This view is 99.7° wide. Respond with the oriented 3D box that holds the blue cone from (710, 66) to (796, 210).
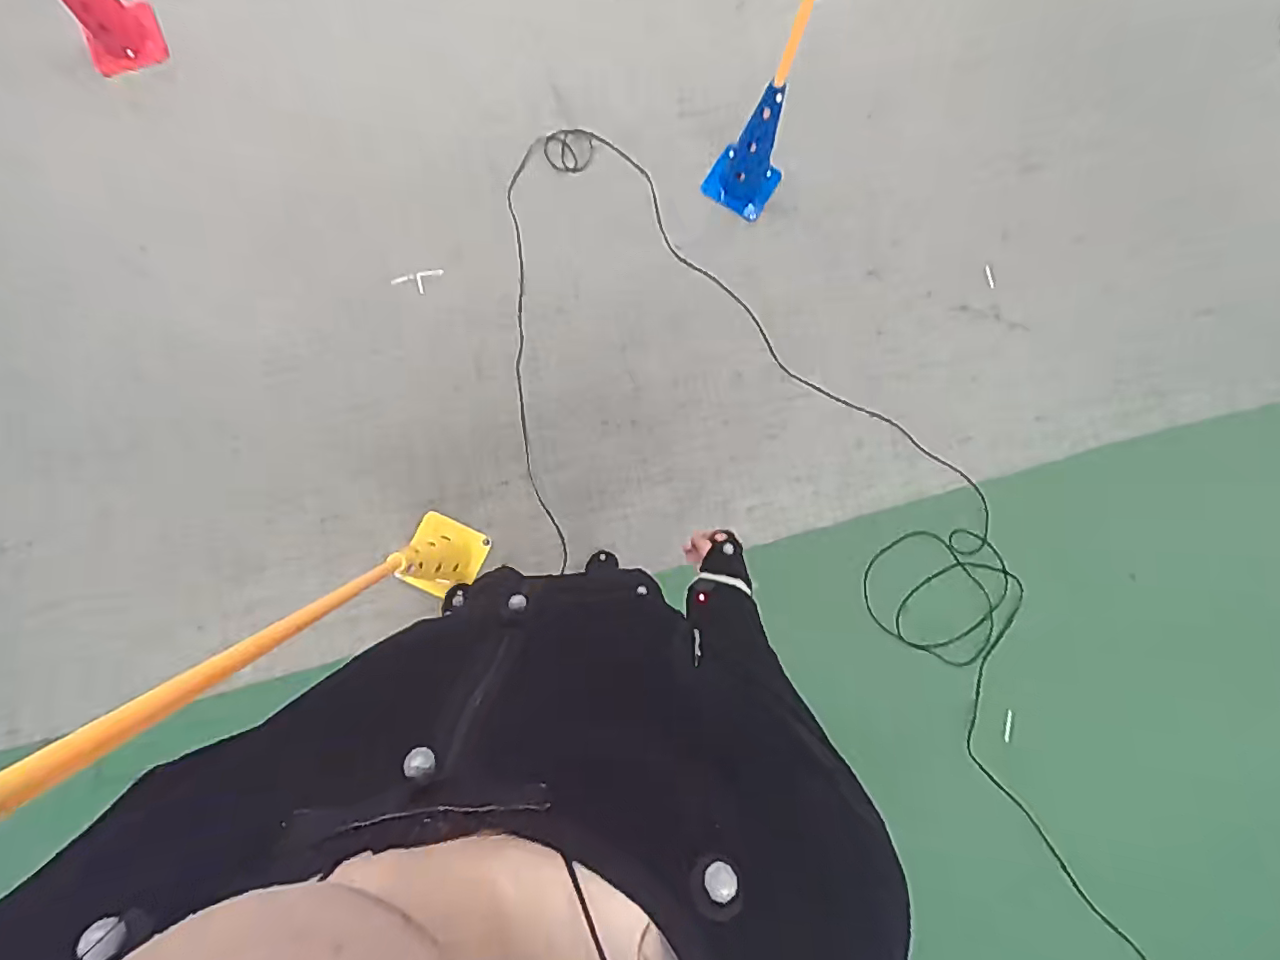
[{"bbox_3d":[0.333,-0.952,1.476,0.192,0.380,0.193,30,80,0],"label":"blue cone"}]
